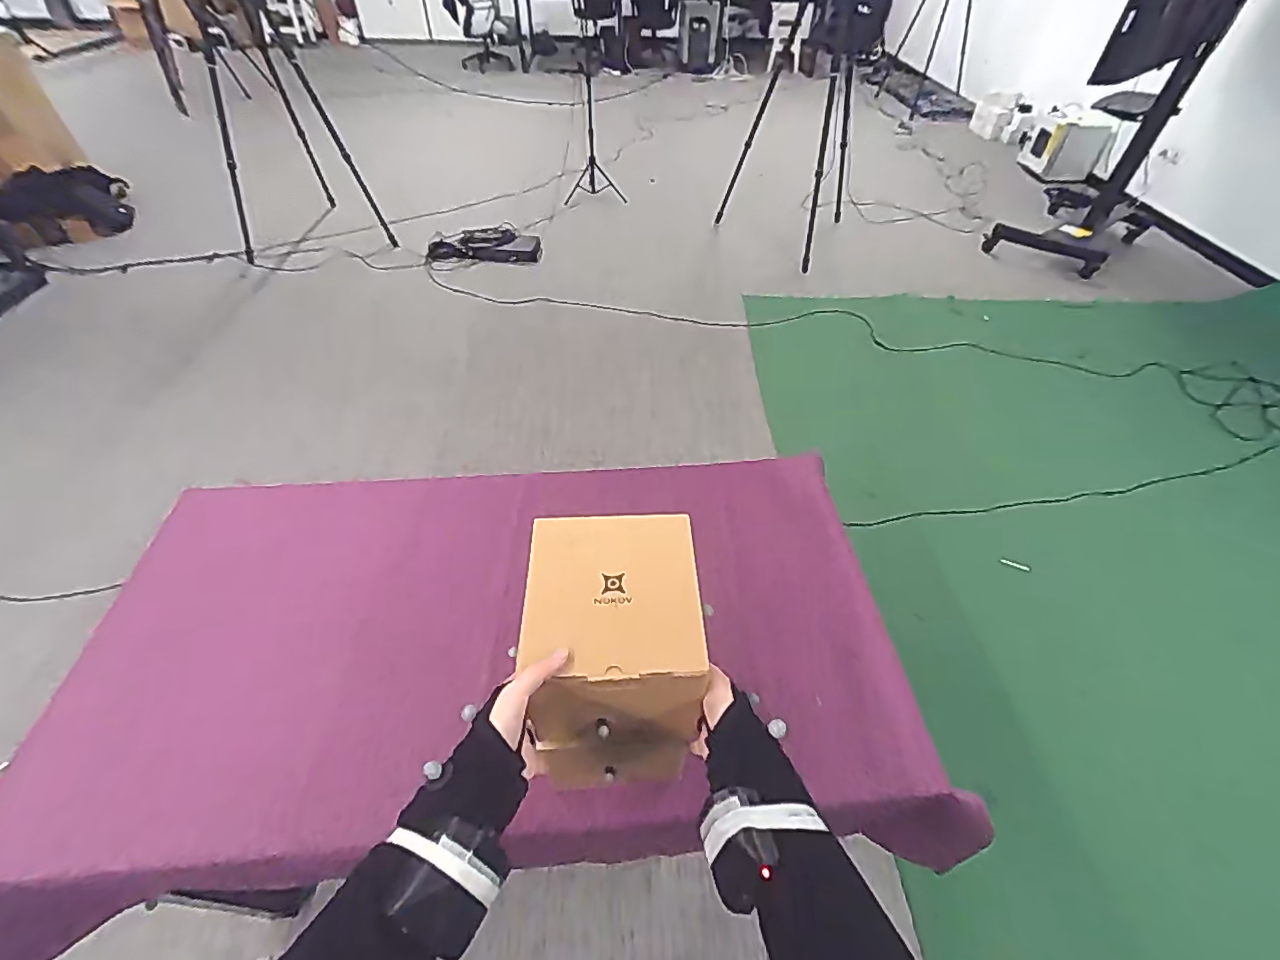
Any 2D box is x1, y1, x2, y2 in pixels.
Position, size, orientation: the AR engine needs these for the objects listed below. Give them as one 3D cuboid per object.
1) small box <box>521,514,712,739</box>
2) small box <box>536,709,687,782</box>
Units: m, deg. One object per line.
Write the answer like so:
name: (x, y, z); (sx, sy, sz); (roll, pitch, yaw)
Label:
small box: (-0.025, 0.155, 0.573); (0.168, 0.176, 0.179); (-2, 49, -3)
small box: (-0.033, 0.271, 0.687); (0.168, 0.176, 0.179); (-2, 47, -3)
